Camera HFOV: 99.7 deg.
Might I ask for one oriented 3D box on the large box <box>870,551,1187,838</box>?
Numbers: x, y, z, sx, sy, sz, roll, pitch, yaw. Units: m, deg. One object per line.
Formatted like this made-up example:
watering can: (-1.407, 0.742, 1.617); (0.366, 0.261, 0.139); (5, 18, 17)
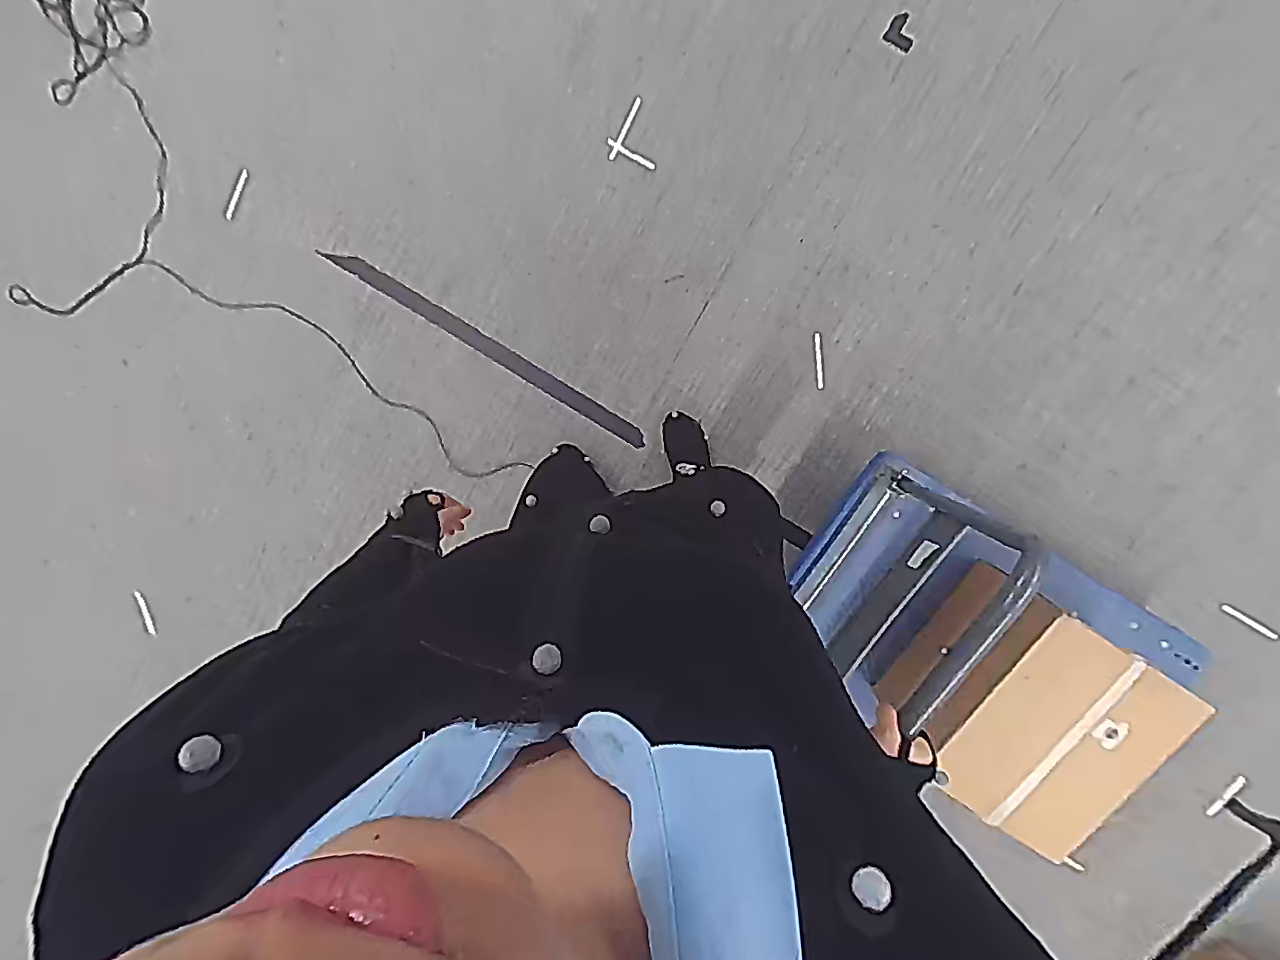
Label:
large box: (0.774, 0.428, 1.156); (0.320, 0.320, 0.408); (33, 100, 0)
